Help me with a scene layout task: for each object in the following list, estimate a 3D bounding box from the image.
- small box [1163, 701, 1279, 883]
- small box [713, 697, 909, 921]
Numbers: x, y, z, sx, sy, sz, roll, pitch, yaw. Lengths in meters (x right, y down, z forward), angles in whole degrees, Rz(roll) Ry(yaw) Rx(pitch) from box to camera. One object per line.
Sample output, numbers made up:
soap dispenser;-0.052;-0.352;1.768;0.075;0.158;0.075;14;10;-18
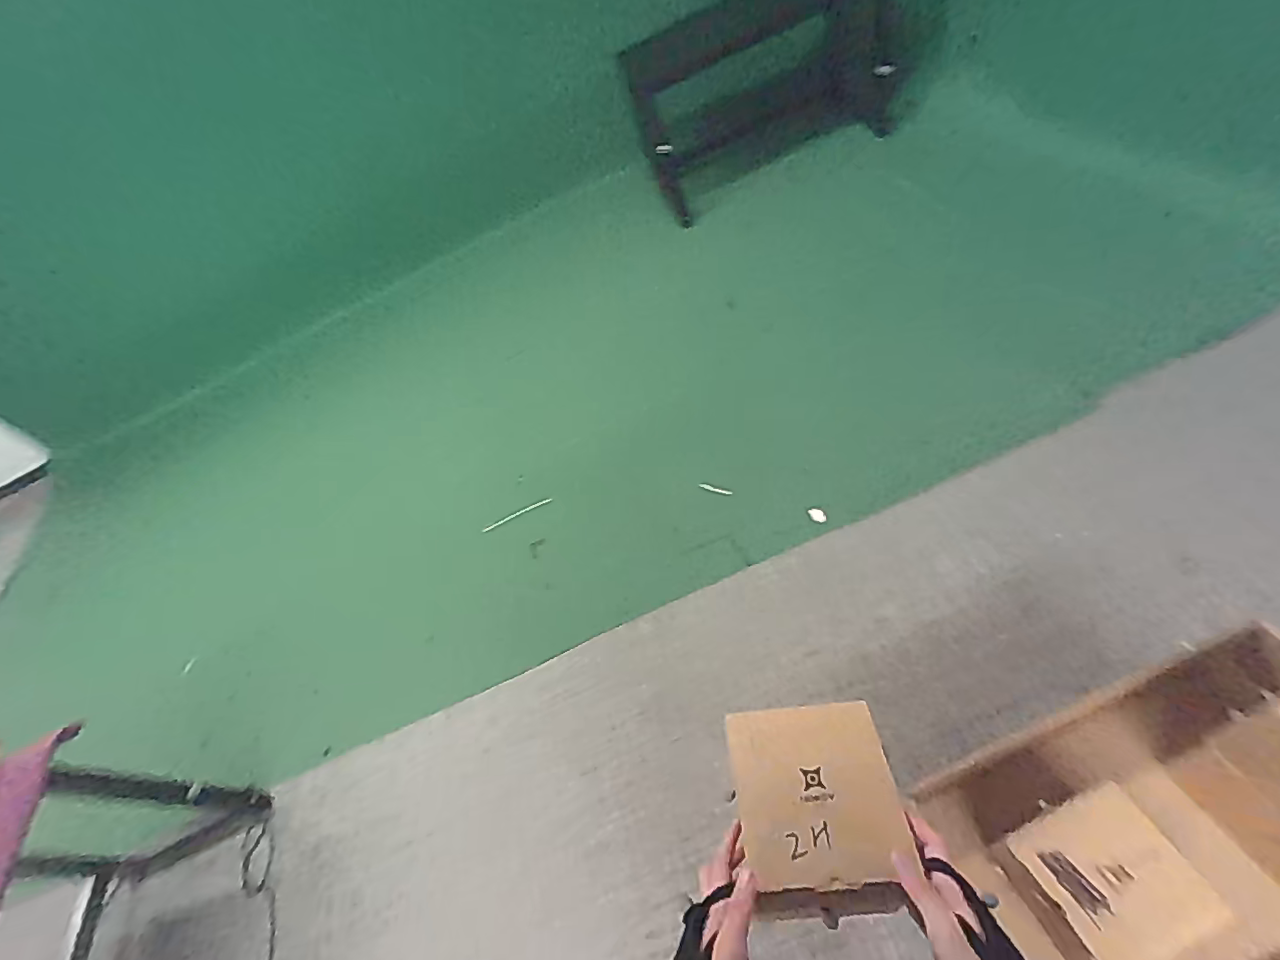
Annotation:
small box;0.905;0.434;0.752;0.168;0.176;0.179;-29;51;-1
small box;0.181;0.378;0.623;0.168;0.176;0.179;-9;43;5
